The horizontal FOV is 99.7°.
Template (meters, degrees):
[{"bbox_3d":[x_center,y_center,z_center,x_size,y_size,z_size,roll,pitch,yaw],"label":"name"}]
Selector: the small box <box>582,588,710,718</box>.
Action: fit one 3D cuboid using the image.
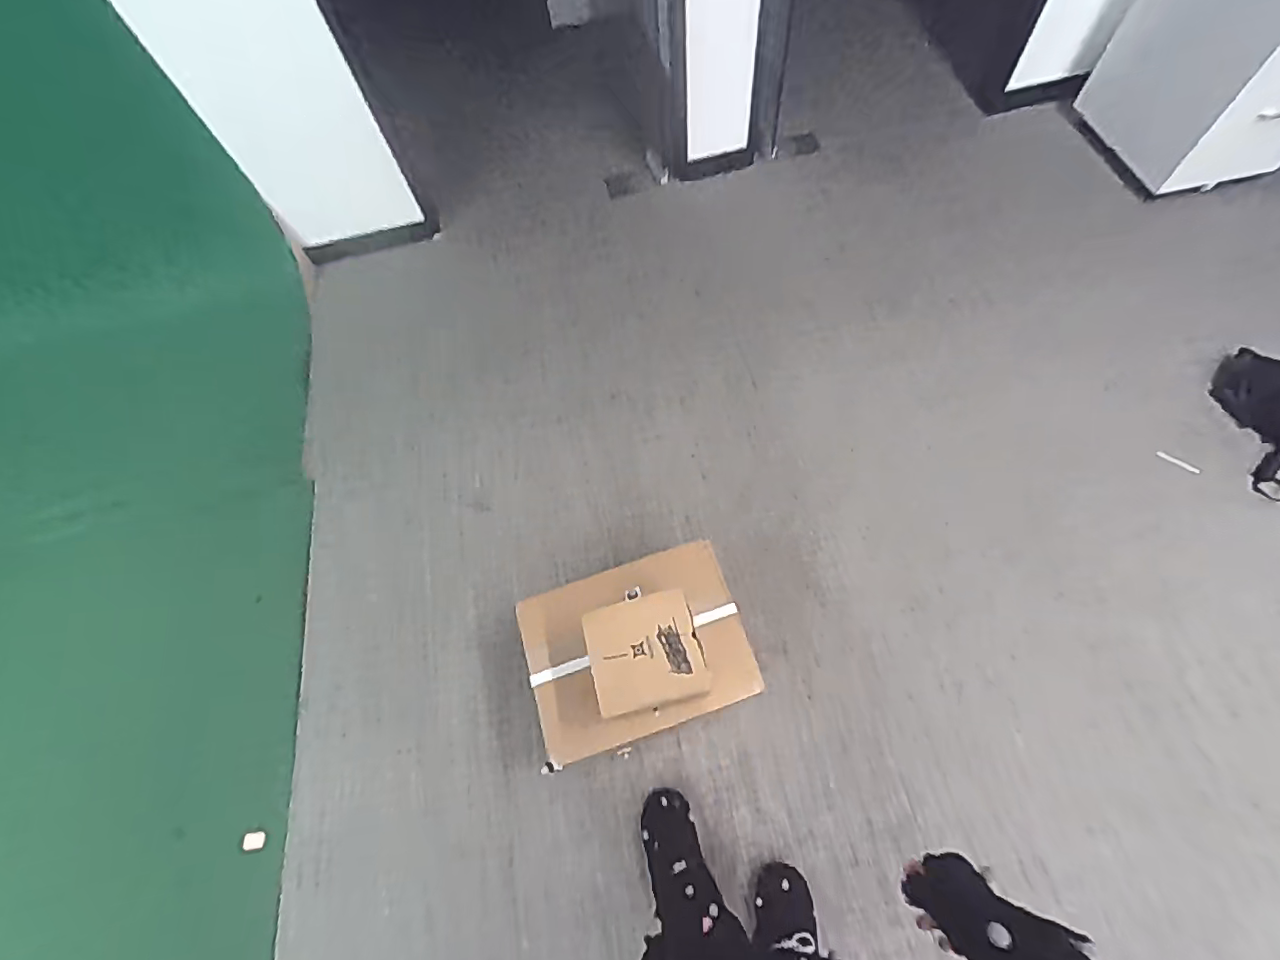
[{"bbox_3d":[0.013,0.303,0.932,0.179,0.176,0.168,-15,64,-1],"label":"small box"}]
